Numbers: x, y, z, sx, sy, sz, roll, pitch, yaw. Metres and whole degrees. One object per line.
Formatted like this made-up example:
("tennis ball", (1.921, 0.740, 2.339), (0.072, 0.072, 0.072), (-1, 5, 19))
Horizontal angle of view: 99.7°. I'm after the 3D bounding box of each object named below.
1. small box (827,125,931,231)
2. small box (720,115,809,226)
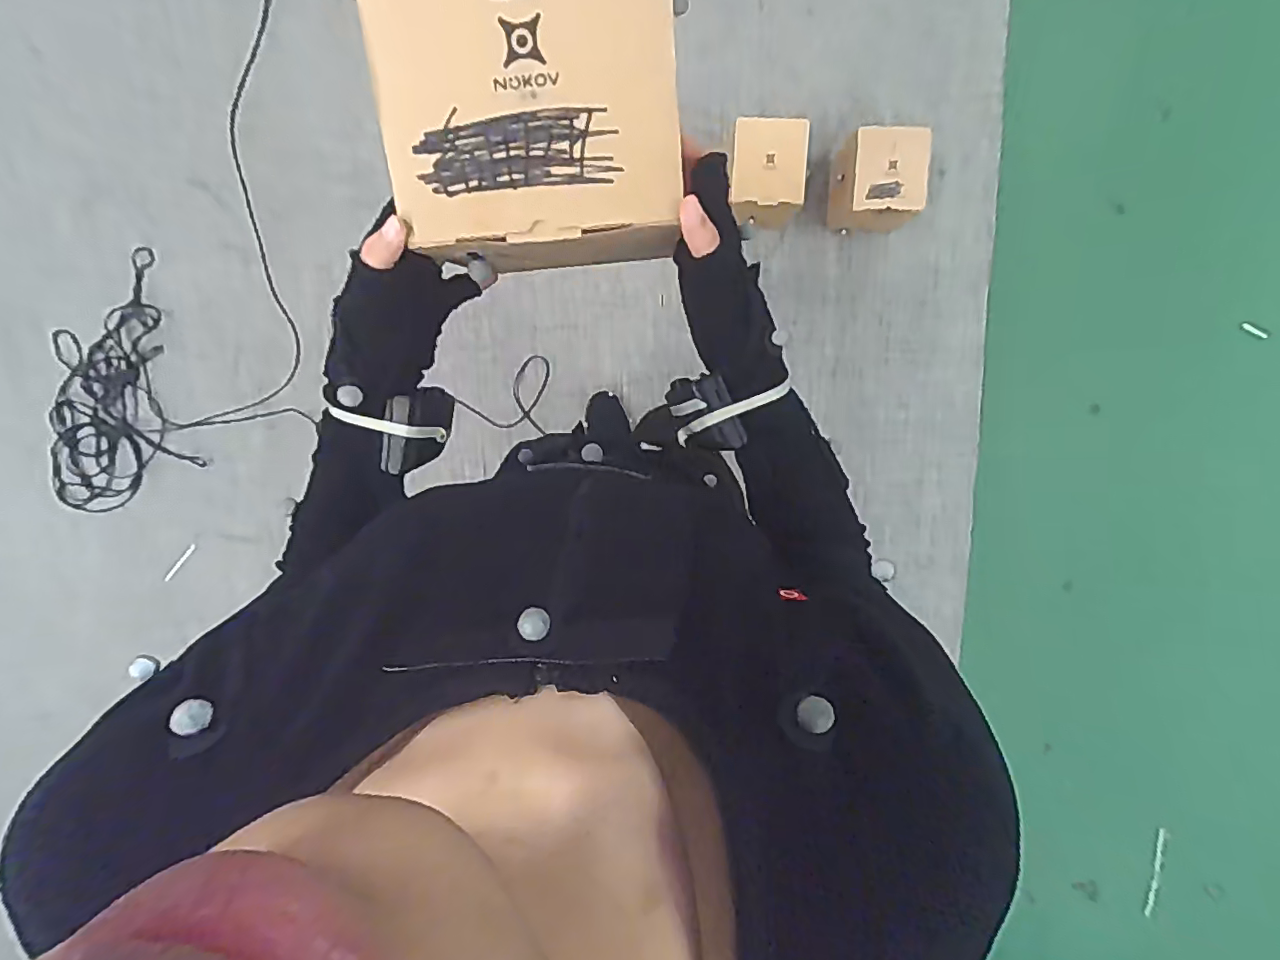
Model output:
("small box", (0.553, -0.702, 1.275), (0.168, 0.176, 0.179), (1, 99, -1))
("small box", (0.284, -0.719, 1.271), (0.168, 0.176, 0.179), (2, 100, -1))
